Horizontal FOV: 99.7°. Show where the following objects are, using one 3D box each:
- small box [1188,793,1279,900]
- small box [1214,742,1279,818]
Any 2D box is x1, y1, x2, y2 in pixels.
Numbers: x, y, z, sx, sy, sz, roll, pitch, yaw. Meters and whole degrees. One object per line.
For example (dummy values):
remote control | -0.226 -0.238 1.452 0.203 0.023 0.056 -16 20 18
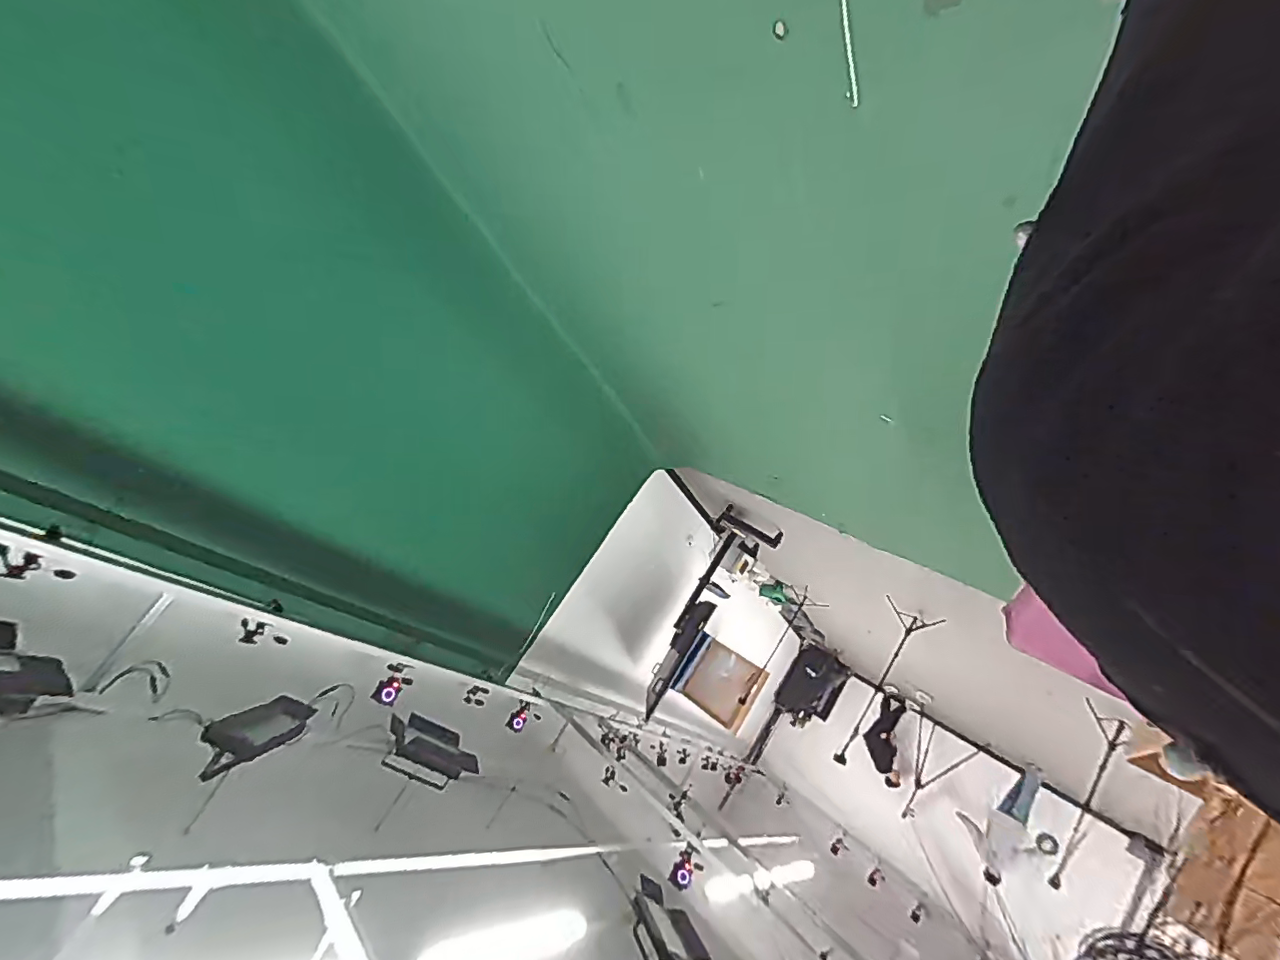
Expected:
small box | 1.580 0.940 1.390 0.179 0.176 0.168 26 164 39
small box | 1.677 0.814 1.422 0.168 0.176 0.179 26 165 36
